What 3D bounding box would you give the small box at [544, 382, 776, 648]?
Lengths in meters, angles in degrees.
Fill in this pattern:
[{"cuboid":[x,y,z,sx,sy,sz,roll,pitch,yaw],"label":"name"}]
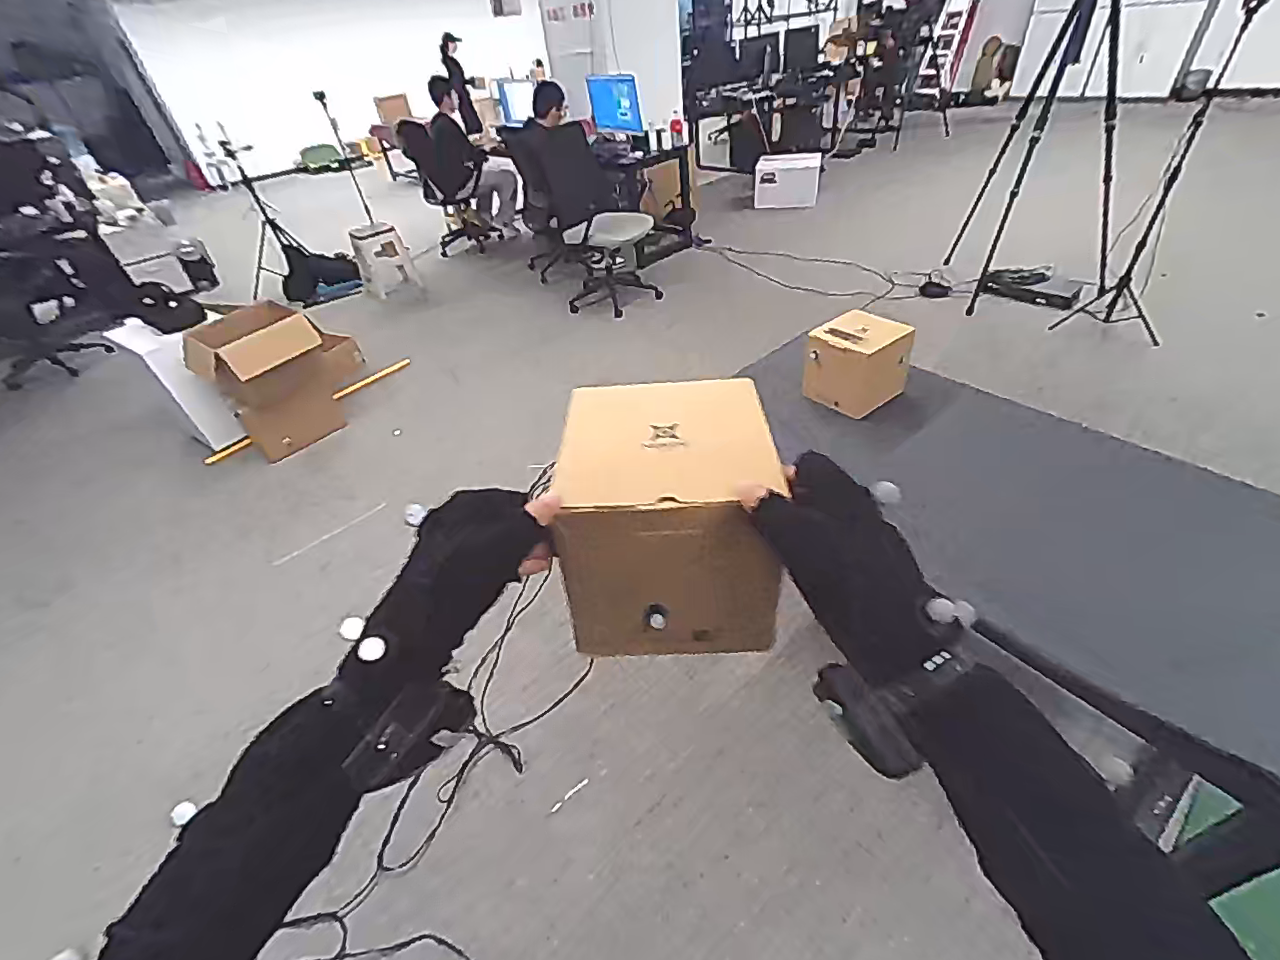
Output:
[{"cuboid":[0.018,0.028,0.489,0.168,0.176,0.179,-3,38,2],"label":"small box"}]
